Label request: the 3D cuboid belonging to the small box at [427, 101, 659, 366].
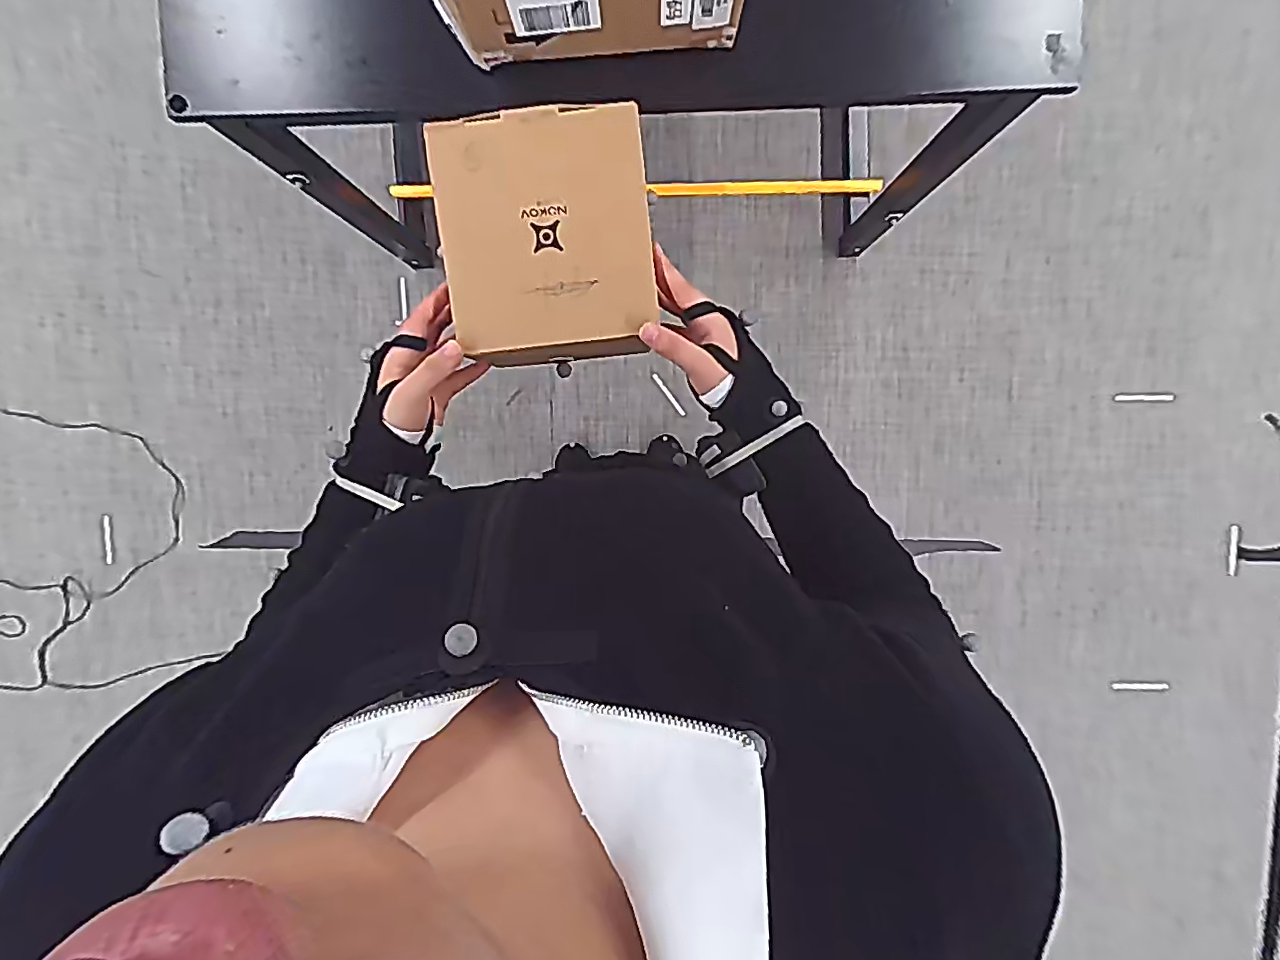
[{"bbox_3d":[-0.077,-0.207,0.500,0.168,0.176,0.179,-6,98,-1],"label":"small box"}]
